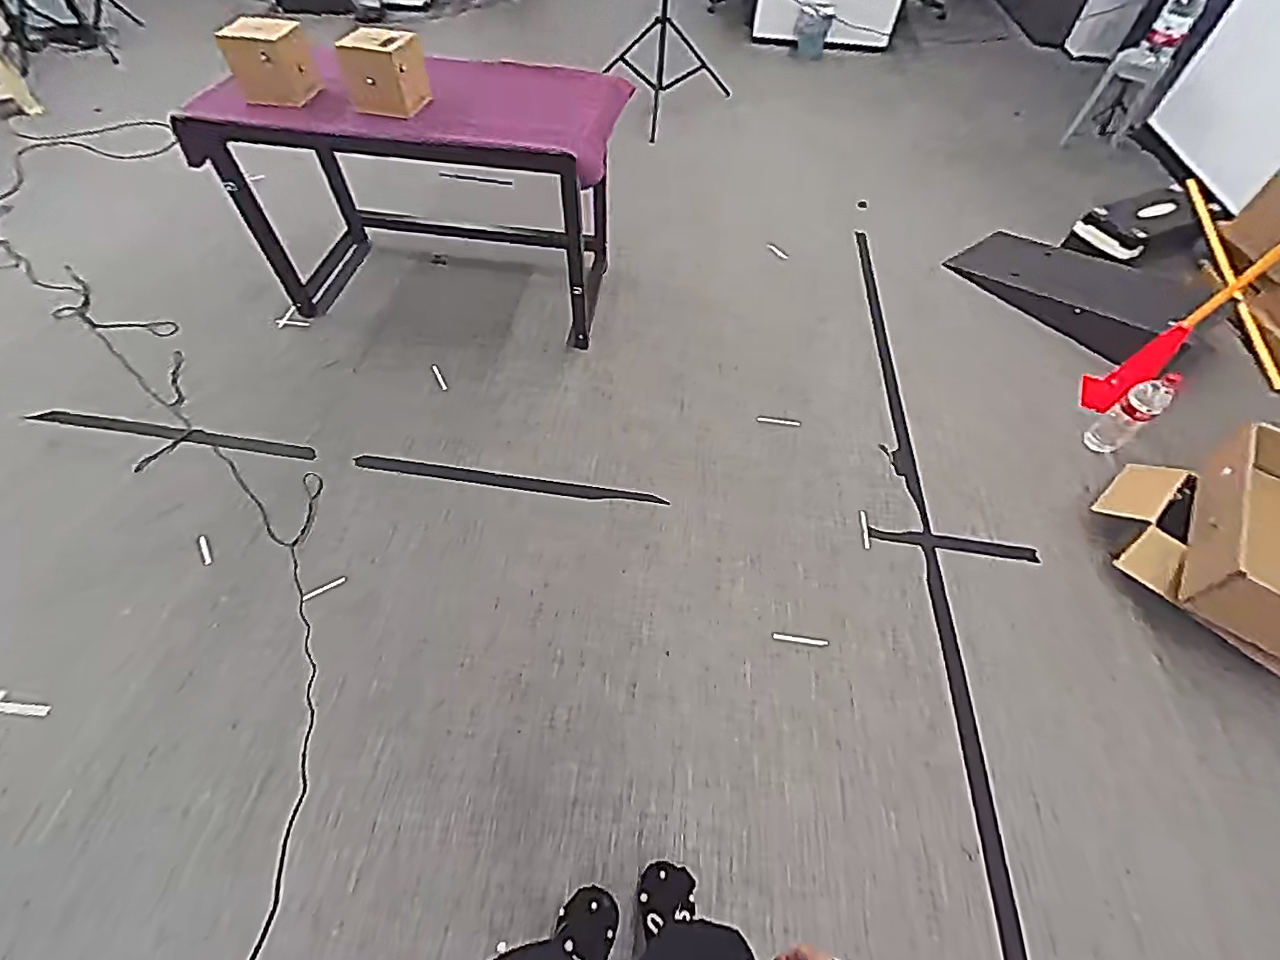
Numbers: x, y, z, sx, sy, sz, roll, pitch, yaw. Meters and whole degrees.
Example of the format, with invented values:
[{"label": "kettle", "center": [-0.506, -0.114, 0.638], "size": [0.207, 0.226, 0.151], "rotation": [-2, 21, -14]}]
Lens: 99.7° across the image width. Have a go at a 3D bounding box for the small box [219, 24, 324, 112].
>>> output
[{"label": "small box", "center": [-1.095, -1.235, 1.626], "size": [0.179, 0.176, 0.168], "rotation": [5, 53, 1]}]
